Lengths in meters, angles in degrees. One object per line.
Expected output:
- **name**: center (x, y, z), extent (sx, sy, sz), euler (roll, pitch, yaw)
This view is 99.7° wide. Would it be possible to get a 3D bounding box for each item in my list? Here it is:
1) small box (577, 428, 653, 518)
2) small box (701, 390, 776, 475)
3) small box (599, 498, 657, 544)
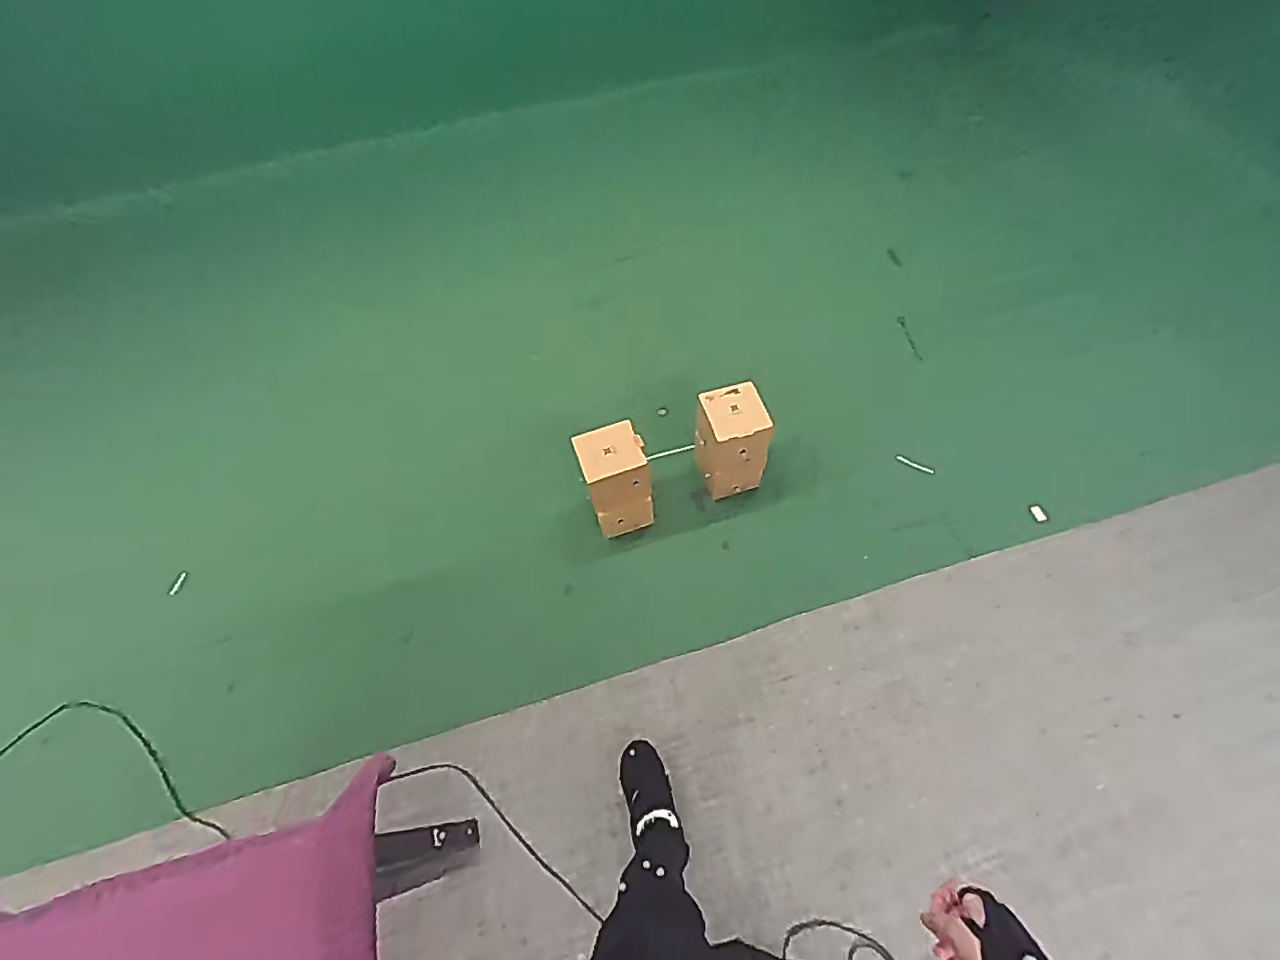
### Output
- **small box**: center (-0.066, -0.016, 1.550), extent (0.179, 0.176, 0.168), euler (-19, 58, -6)
- **small box**: center (0.282, -0.132, 1.588), extent (0.168, 0.176, 0.179), euler (-14, 61, -5)
- **small box**: center (-0.051, 0.081, 1.680), extent (0.168, 0.176, 0.179), euler (-19, 58, -6)
